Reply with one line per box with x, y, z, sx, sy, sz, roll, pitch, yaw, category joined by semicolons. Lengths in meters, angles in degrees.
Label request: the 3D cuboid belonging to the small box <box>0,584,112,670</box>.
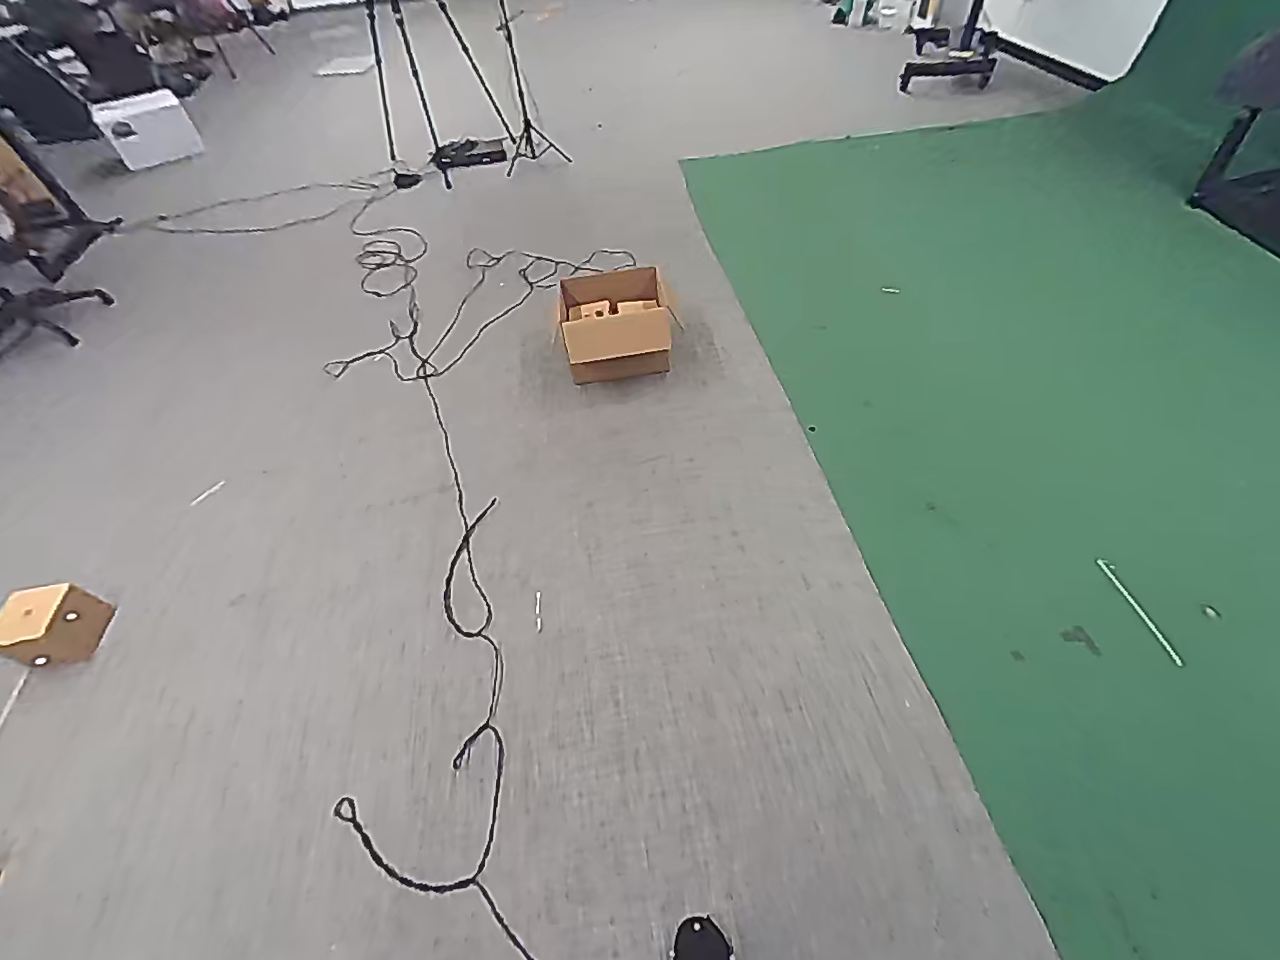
-1.727;0.433;1.589;0.168;0.176;0.179;-10;52;-4;small box
